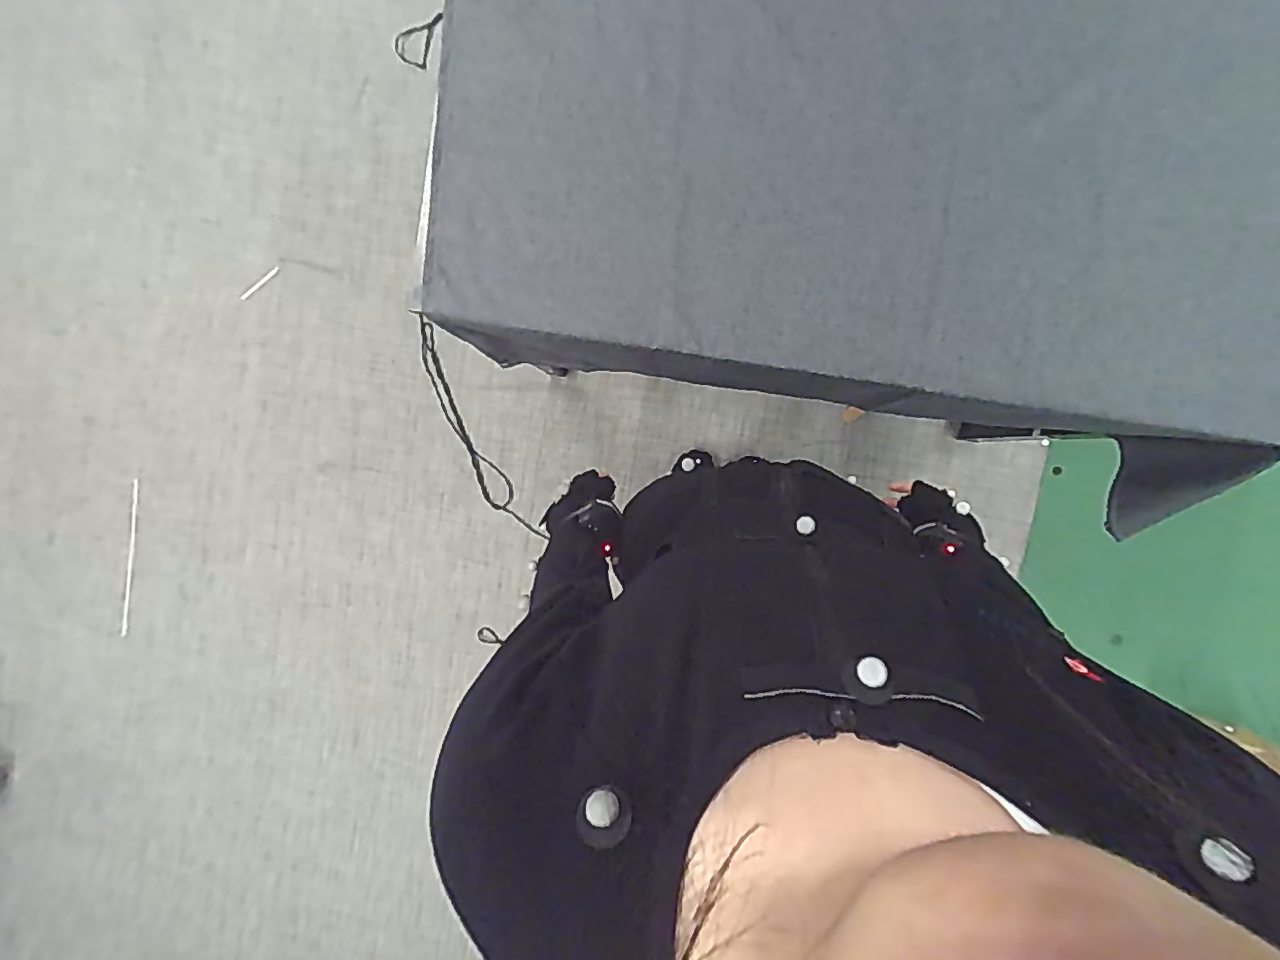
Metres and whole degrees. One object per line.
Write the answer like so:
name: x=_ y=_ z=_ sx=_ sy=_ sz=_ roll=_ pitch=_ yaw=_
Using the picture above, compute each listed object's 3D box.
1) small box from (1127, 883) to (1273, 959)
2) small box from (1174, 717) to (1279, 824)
small box: x=1.402 y=1.169 z=1.365 sx=0.179 sy=0.176 sz=0.168 roll=10 pitch=94 yaw=5
small box: x=1.494 y=0.714 z=1.334 sx=0.179 sy=0.176 sz=0.168 roll=15 pitch=94 yaw=4
